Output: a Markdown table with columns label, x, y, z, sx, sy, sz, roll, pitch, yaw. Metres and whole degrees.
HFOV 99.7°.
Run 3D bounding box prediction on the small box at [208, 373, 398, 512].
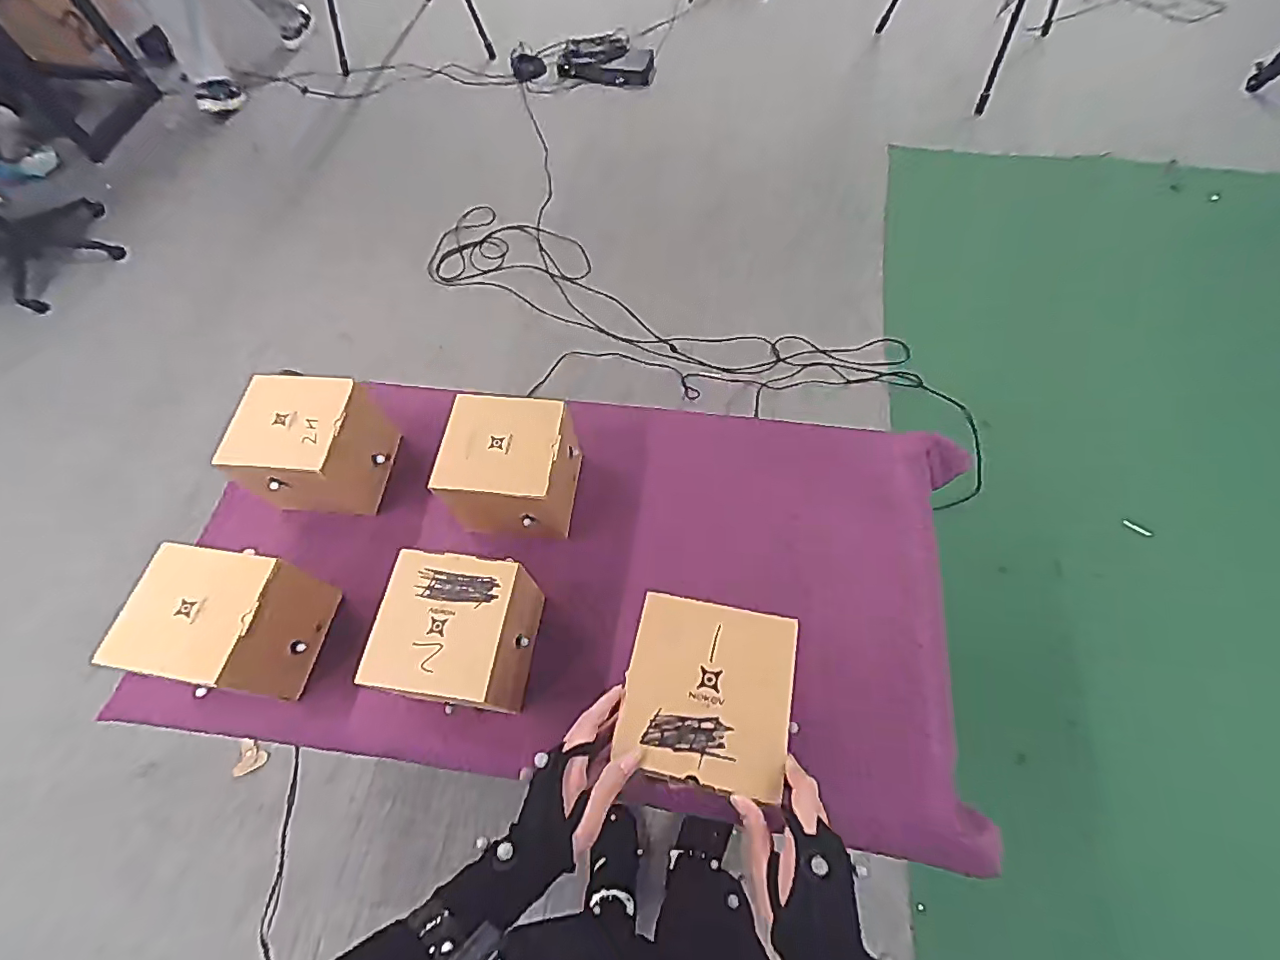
| label | x | y | z | sx | sy | sz | roll | pitch | yaw |
| --- | --- | --- | --- | --- | --- | --- | --- | --- | --- |
| small box | -0.538 | -0.056 | 0.891 | 0.179 | 0.176 | 0.168 | 4 | 64 | 5 |

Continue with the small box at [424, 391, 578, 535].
| label | x | y | z | sx | sy | sz | roll | pitch | yaw |
| --- | --- | --- | --- | --- | --- | --- | --- | --- | --- |
| small box | -0.203 | -0.020 | 0.855 | 0.179 | 0.176 | 0.168 | 5 | 63 | 7 |

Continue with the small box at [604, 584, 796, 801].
| label | x | y | z | sx | sy | sz | roll | pitch | yaw |
| --- | --- | --- | --- | --- | --- | --- | --- | --- | --- |
| small box | 0.072 | 0.239 | 0.600 | 0.168 | 0.176 | 0.179 | 9 | 60 | 12 |

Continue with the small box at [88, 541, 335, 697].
| label | x | y | z | sx | sy | sz | roll | pitch | yaw |
| --- | --- | --- | --- | --- | --- | --- | --- | --- | --- |
| small box | -0.582 | 0.201 | 0.764 | 0.179 | 0.176 | 0.168 | 7 | 63 | 6 |
